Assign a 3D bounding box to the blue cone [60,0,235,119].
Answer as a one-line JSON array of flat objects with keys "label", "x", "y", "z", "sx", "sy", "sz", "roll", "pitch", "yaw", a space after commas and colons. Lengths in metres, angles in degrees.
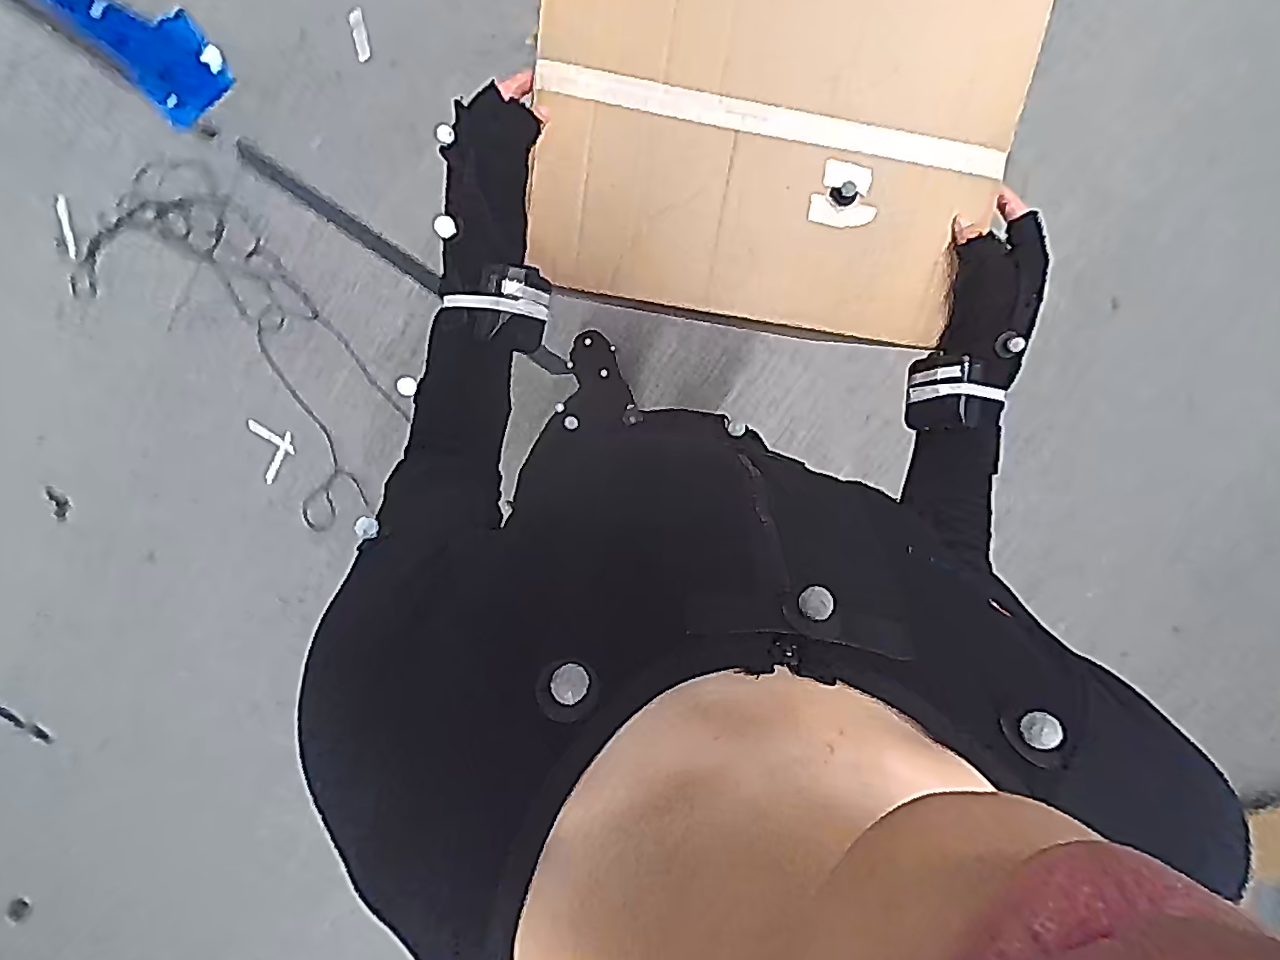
[{"label": "blue cone", "x": -1.107, "y": -0.978, "z": 1.161, "sx": 0.193, "sy": 0.380, "sz": 0.192, "roll": -34, "pitch": 99, "yaw": 7}]
